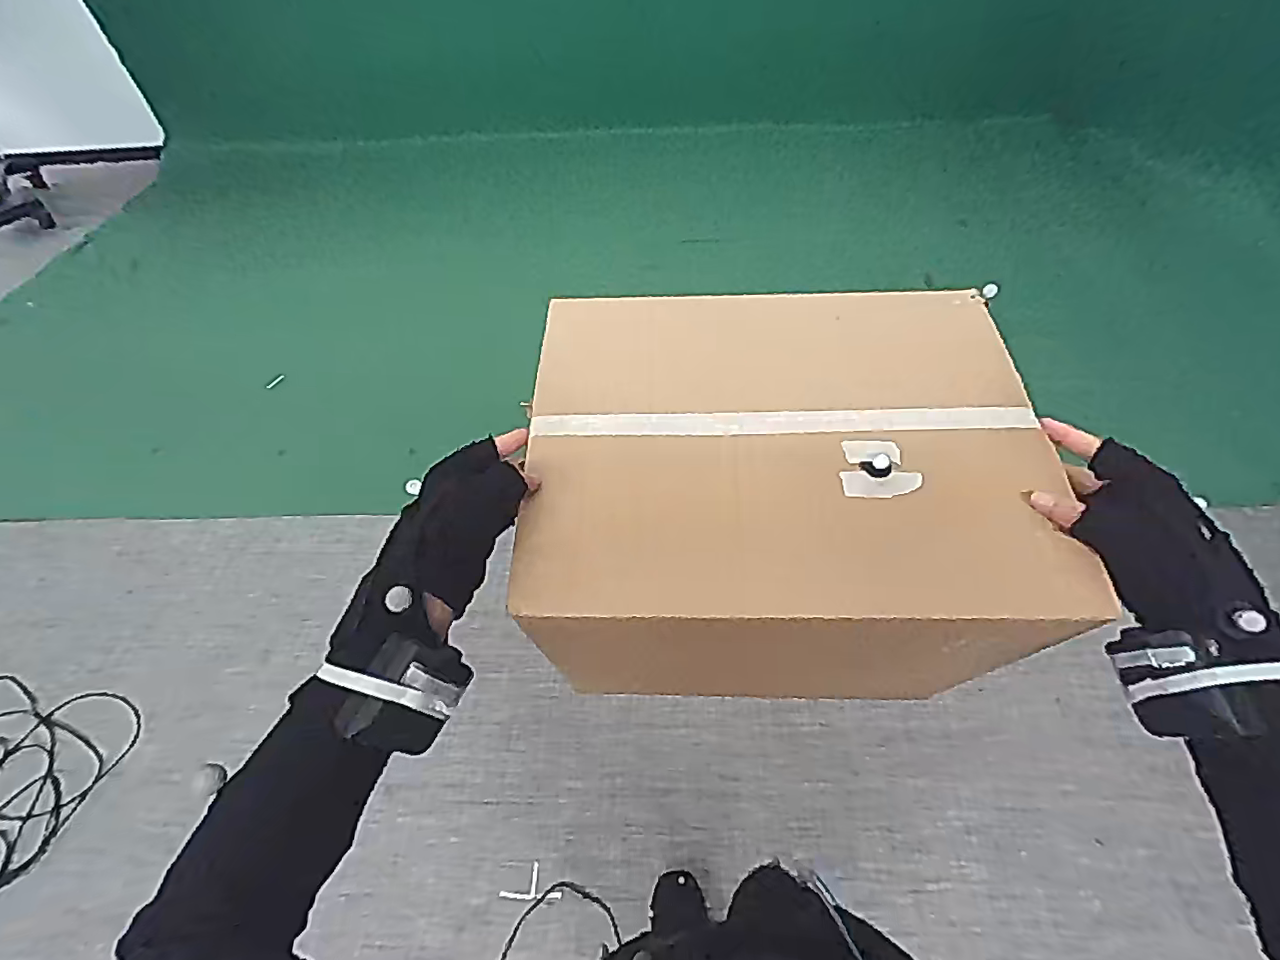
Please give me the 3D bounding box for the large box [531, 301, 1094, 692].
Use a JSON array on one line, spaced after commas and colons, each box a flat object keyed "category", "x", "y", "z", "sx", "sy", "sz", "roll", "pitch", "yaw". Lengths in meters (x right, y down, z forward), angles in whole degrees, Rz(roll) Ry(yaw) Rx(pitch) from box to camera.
[{"category": "large box", "x": 0.121, "y": 0.036, "z": 0.581, "sx": 0.408, "sy": 0.320, "sz": 0.320, "roll": -1, "pitch": 59, "yaw": 2}]
